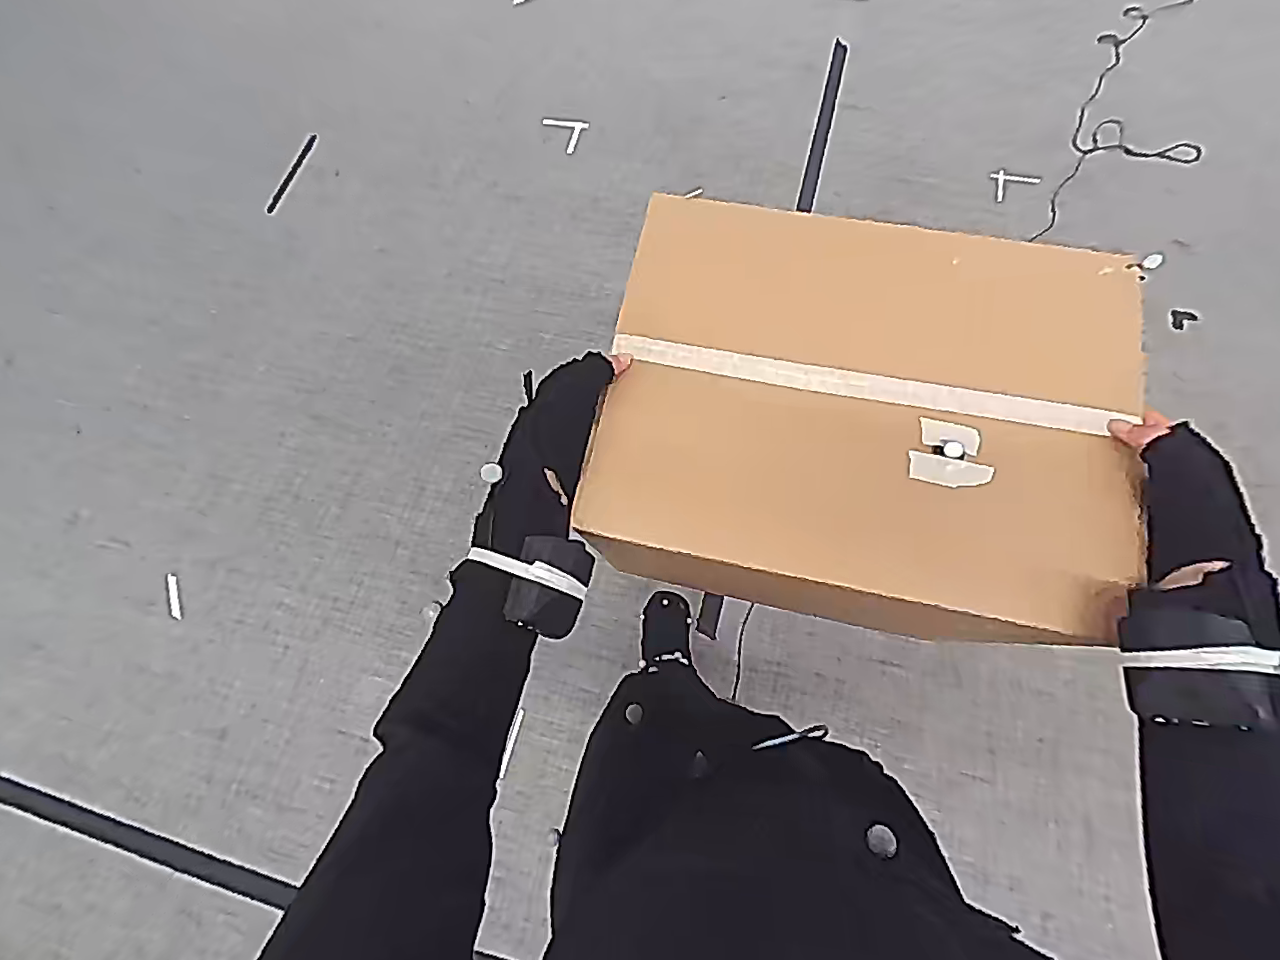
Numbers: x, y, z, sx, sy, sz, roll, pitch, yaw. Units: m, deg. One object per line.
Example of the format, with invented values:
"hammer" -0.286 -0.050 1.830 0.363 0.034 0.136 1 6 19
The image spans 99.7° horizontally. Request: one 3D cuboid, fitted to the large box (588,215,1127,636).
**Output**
"large box" 0.186 -0.028 0.582 0.408 0.320 0.320 11 76 6
